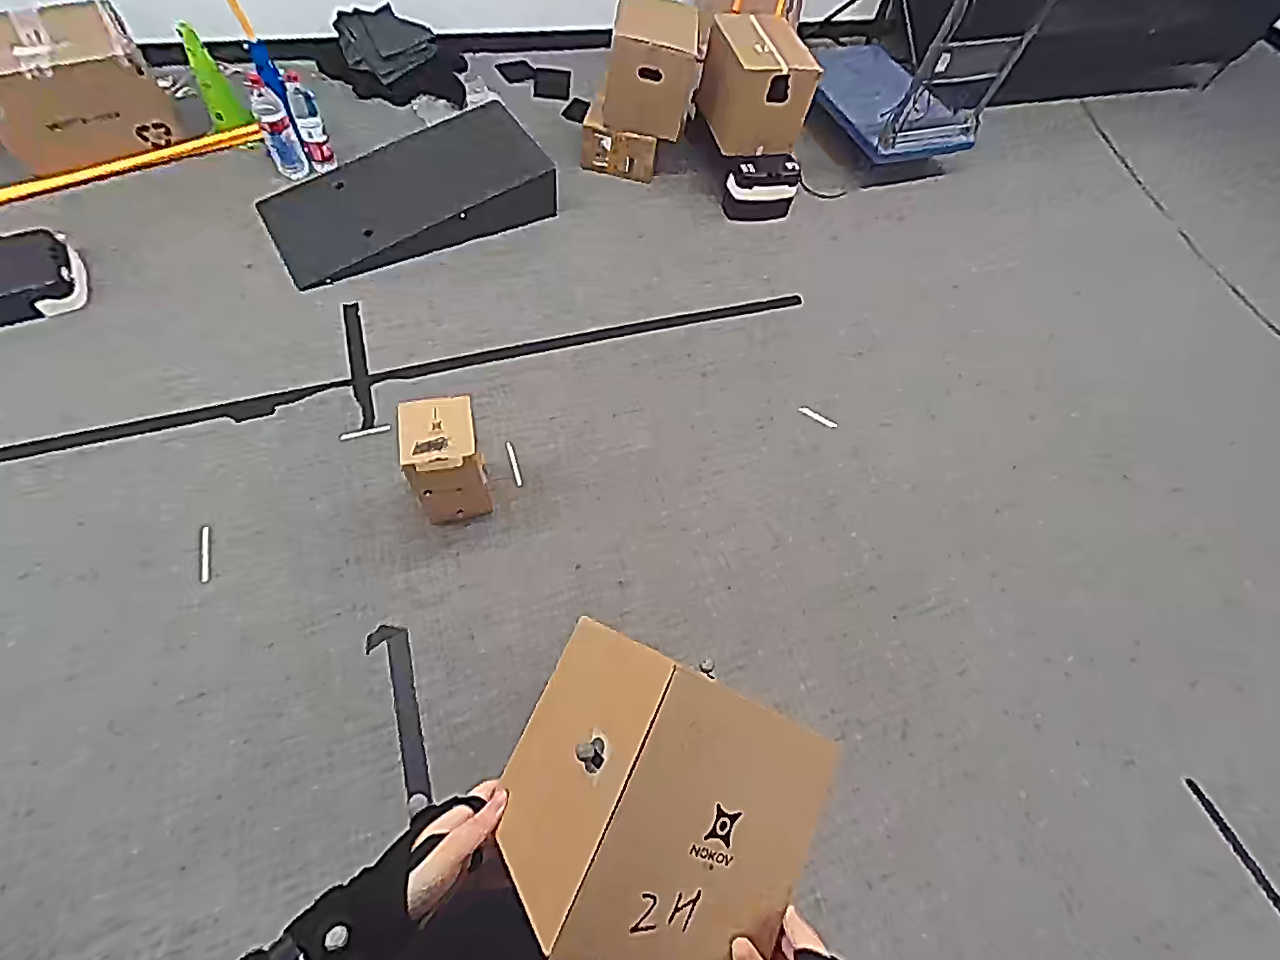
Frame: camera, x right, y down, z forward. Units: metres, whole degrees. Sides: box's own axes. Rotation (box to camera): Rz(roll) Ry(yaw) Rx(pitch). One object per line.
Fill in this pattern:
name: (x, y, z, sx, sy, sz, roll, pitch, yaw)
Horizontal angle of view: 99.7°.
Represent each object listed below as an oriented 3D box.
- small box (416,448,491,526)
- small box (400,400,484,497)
small box: (-0.504, 0.006, 1.458, 0.179, 0.176, 0.168, -11, 63, -15)
small box: (-0.477, -0.069, 1.314, 0.168, 0.176, 0.179, -8, 62, -13)
